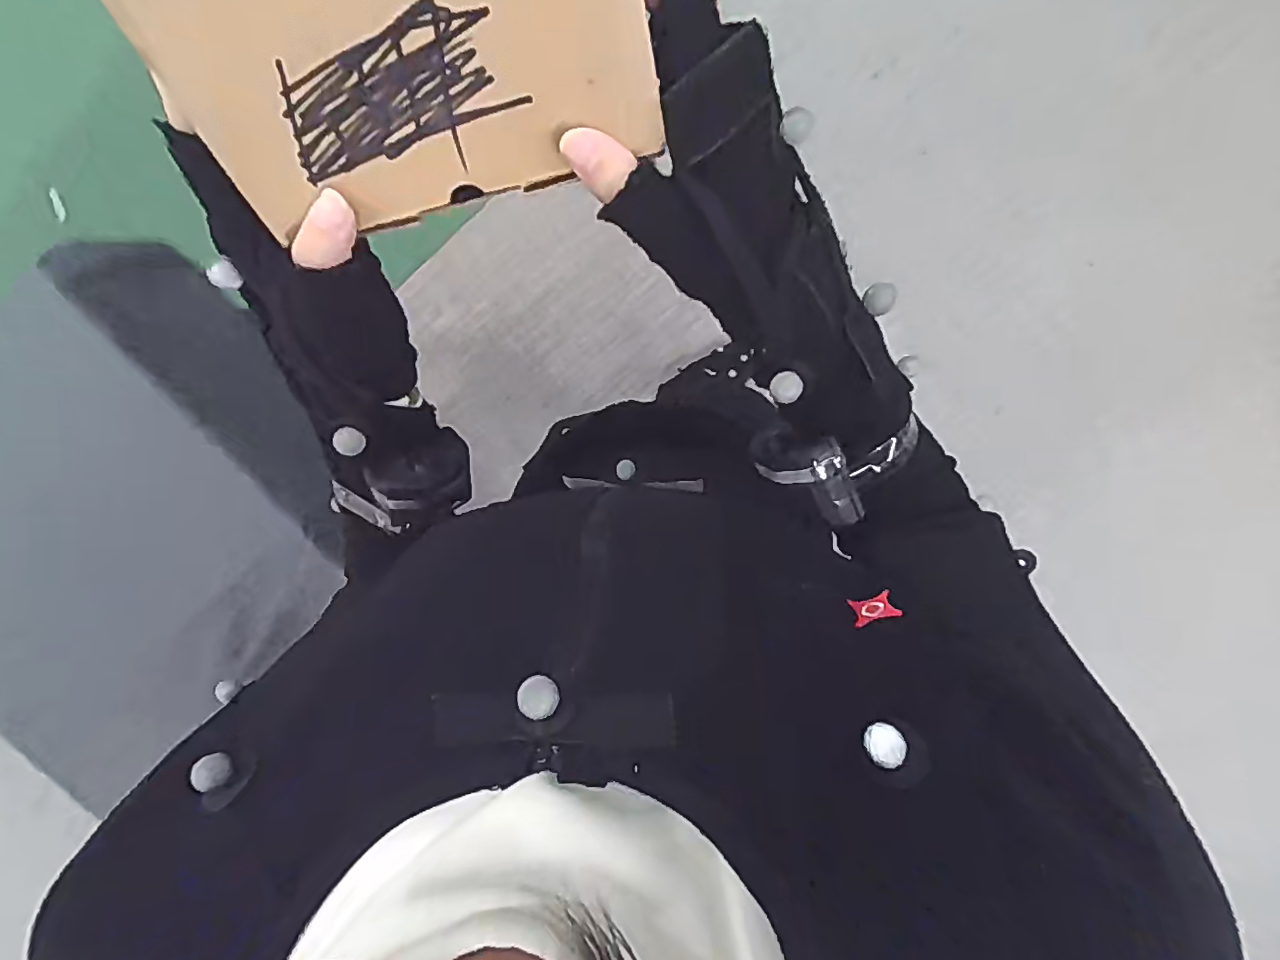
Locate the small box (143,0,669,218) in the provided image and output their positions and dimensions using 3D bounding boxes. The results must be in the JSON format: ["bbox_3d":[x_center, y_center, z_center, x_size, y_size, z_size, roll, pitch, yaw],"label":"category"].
[{"bbox_3d":[-0.086,-0.237,0.209,0.168,0.176,0.179,-10,135,8],"label":"small box"}]
